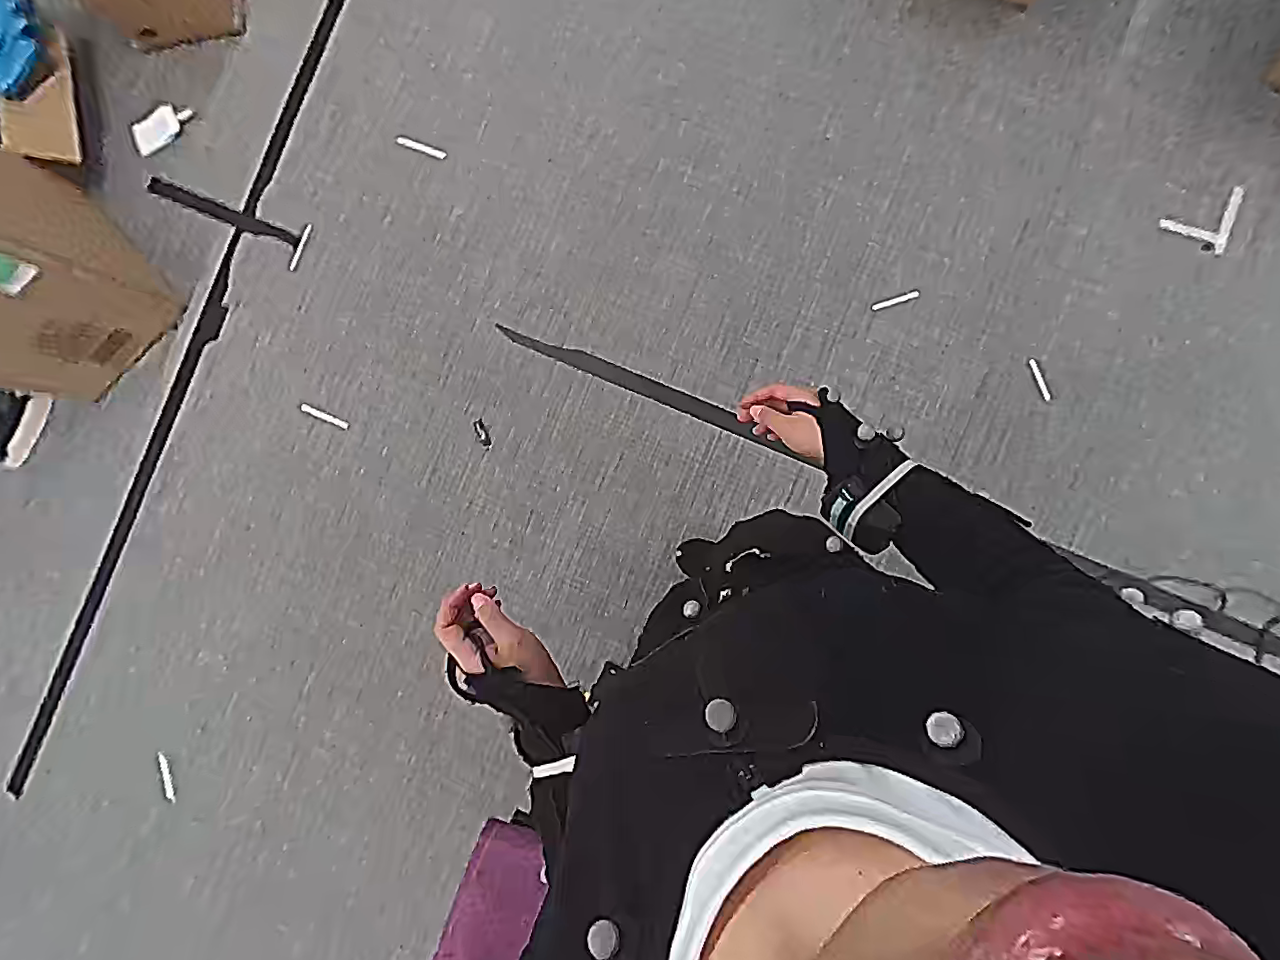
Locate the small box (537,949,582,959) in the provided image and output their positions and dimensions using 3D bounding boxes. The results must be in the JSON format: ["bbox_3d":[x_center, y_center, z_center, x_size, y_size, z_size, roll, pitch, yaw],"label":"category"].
[{"bbox_3d":[-0.083,0.664,0.575,0.179,0.176,0.168,24,92,5],"label":"small box"}]
